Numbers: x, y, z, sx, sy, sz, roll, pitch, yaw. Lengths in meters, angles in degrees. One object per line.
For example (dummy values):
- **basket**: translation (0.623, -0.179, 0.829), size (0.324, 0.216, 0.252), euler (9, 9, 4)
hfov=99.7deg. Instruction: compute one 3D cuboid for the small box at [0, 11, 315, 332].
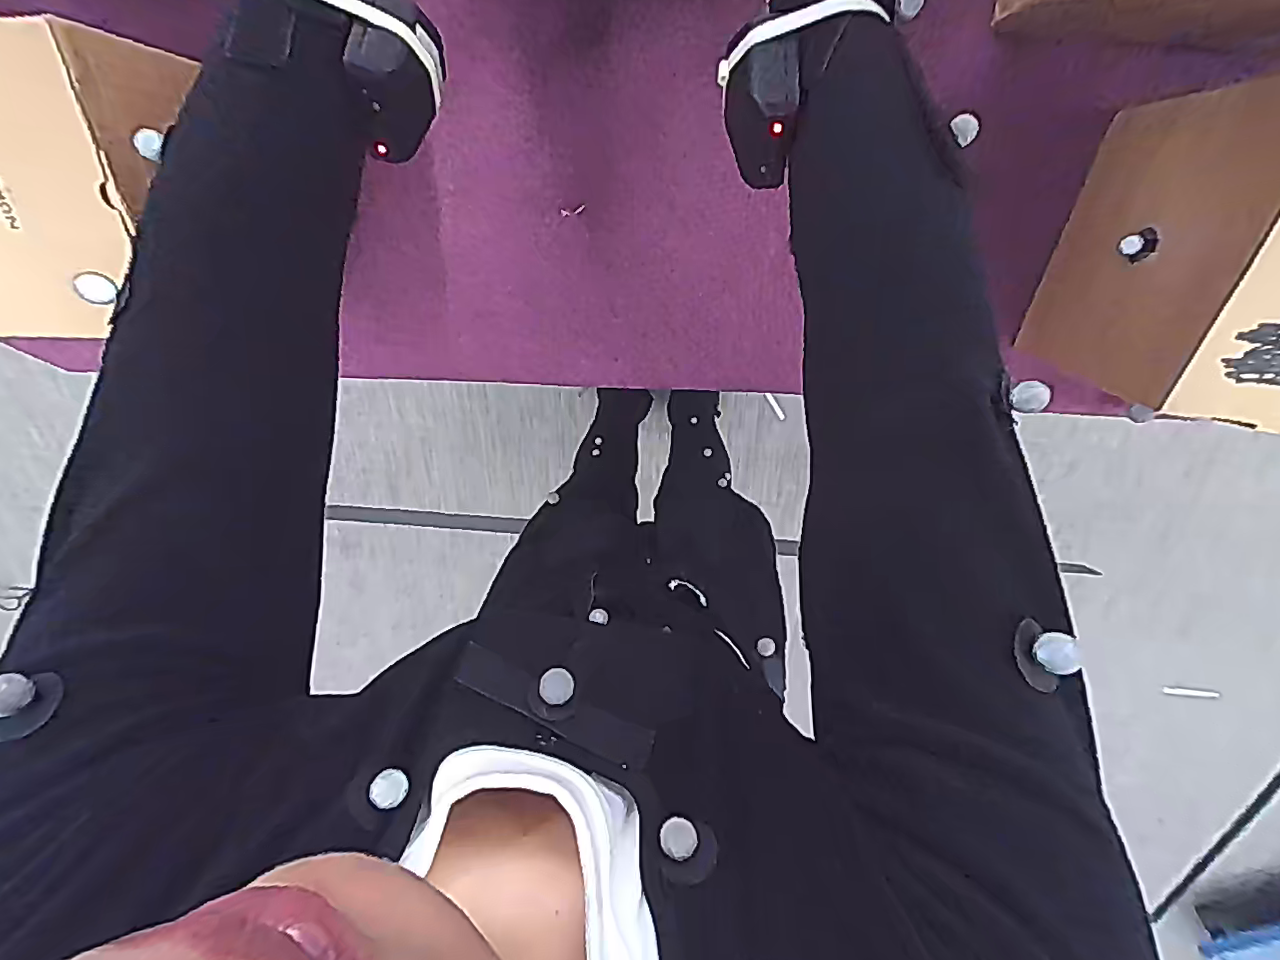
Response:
- **small box**: translation (-0.383, -0.205, 0.391), size (0.179, 0.176, 0.168), euler (1, 116, 3)
